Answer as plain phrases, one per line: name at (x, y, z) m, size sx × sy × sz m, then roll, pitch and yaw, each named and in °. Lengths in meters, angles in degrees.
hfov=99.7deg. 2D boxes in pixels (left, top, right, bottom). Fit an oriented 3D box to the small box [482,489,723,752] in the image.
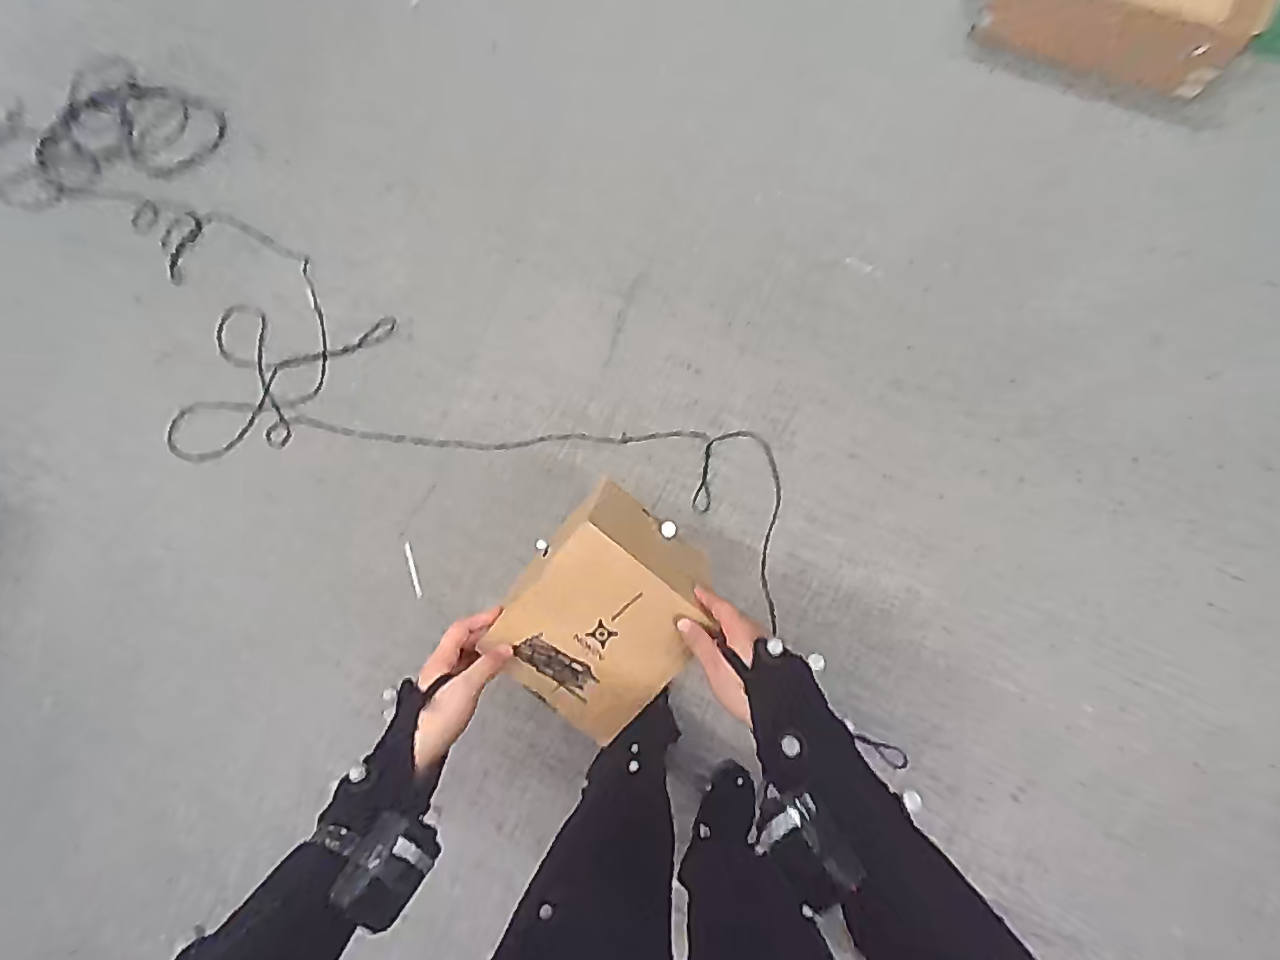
small box at (-0.032, 0.138, 0.583) m, size 0.168 × 0.176 × 0.179 m, roll 40°, pitch 103°, yaw -8°
